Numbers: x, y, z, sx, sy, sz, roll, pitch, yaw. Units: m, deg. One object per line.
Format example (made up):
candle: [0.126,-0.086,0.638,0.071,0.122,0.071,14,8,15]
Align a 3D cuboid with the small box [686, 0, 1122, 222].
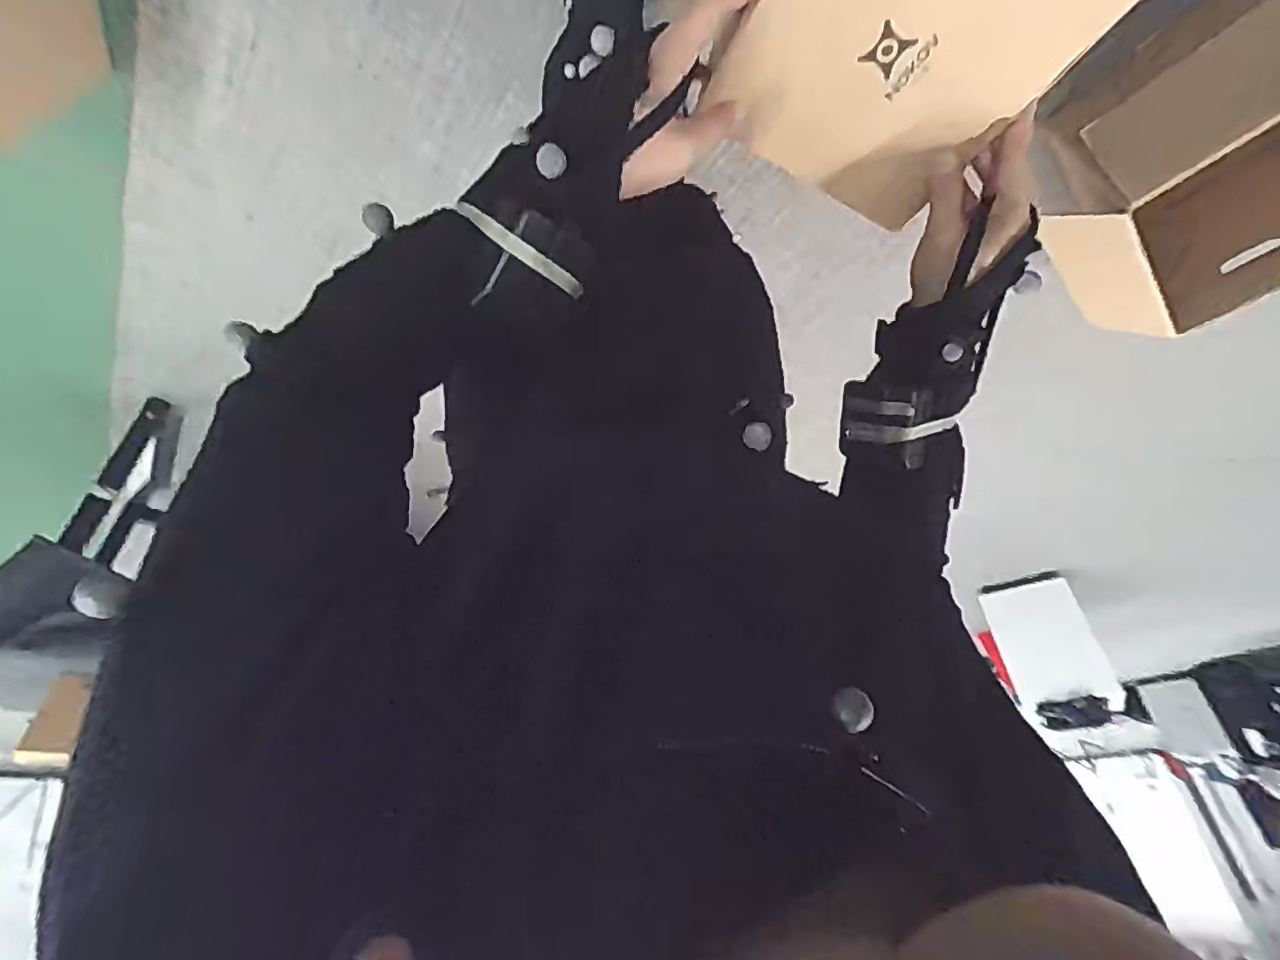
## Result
small box: [0.150,-0.314,0.339,0.179,0.176,0.168,20,150,-17]
